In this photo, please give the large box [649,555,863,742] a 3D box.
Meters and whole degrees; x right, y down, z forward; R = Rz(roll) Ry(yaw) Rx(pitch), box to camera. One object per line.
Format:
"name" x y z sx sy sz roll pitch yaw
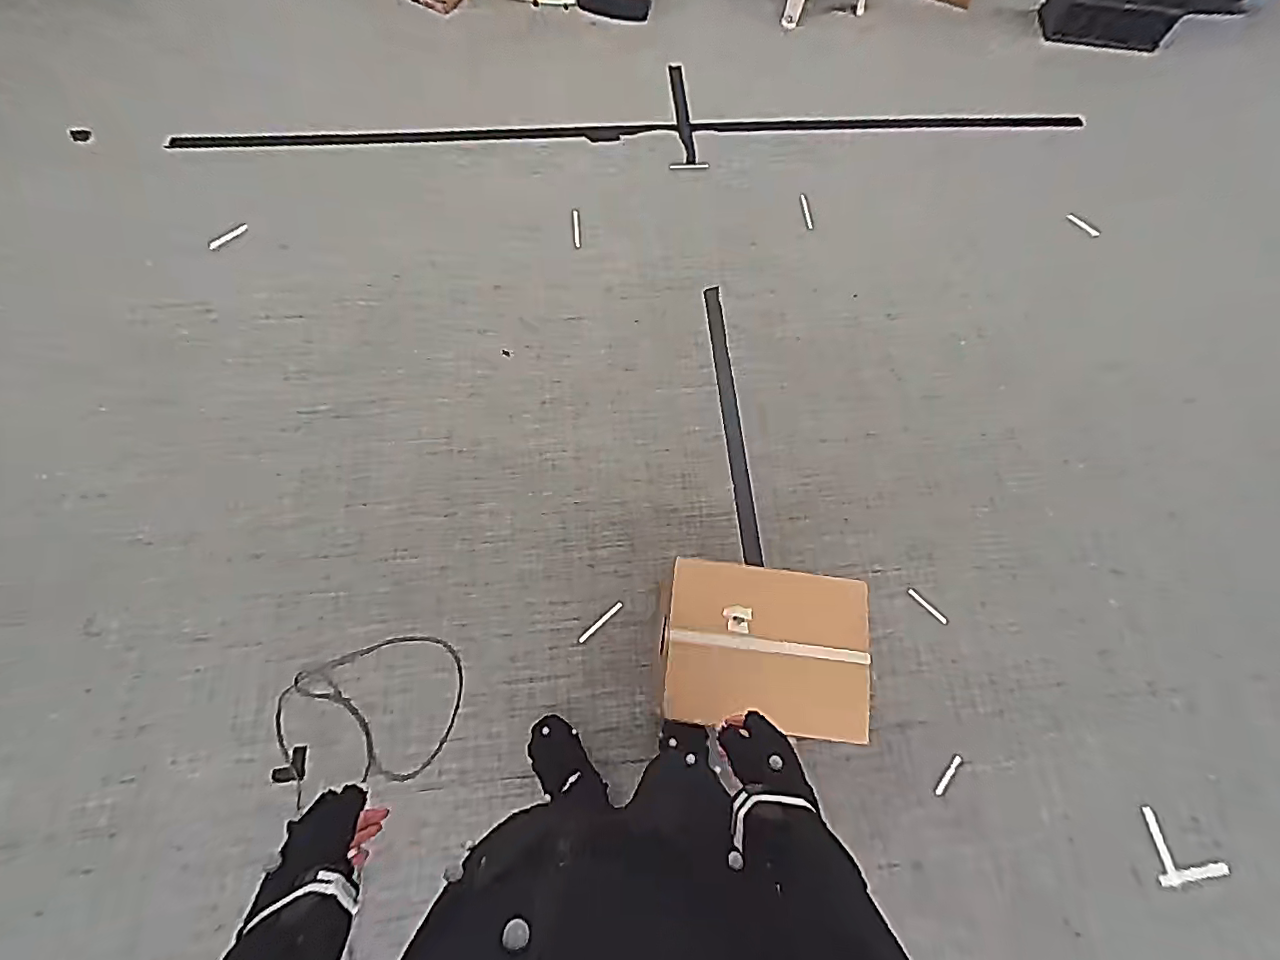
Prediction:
"large box" 0.245 0.373 1.228 0.408 0.320 0.320 10 72 1
